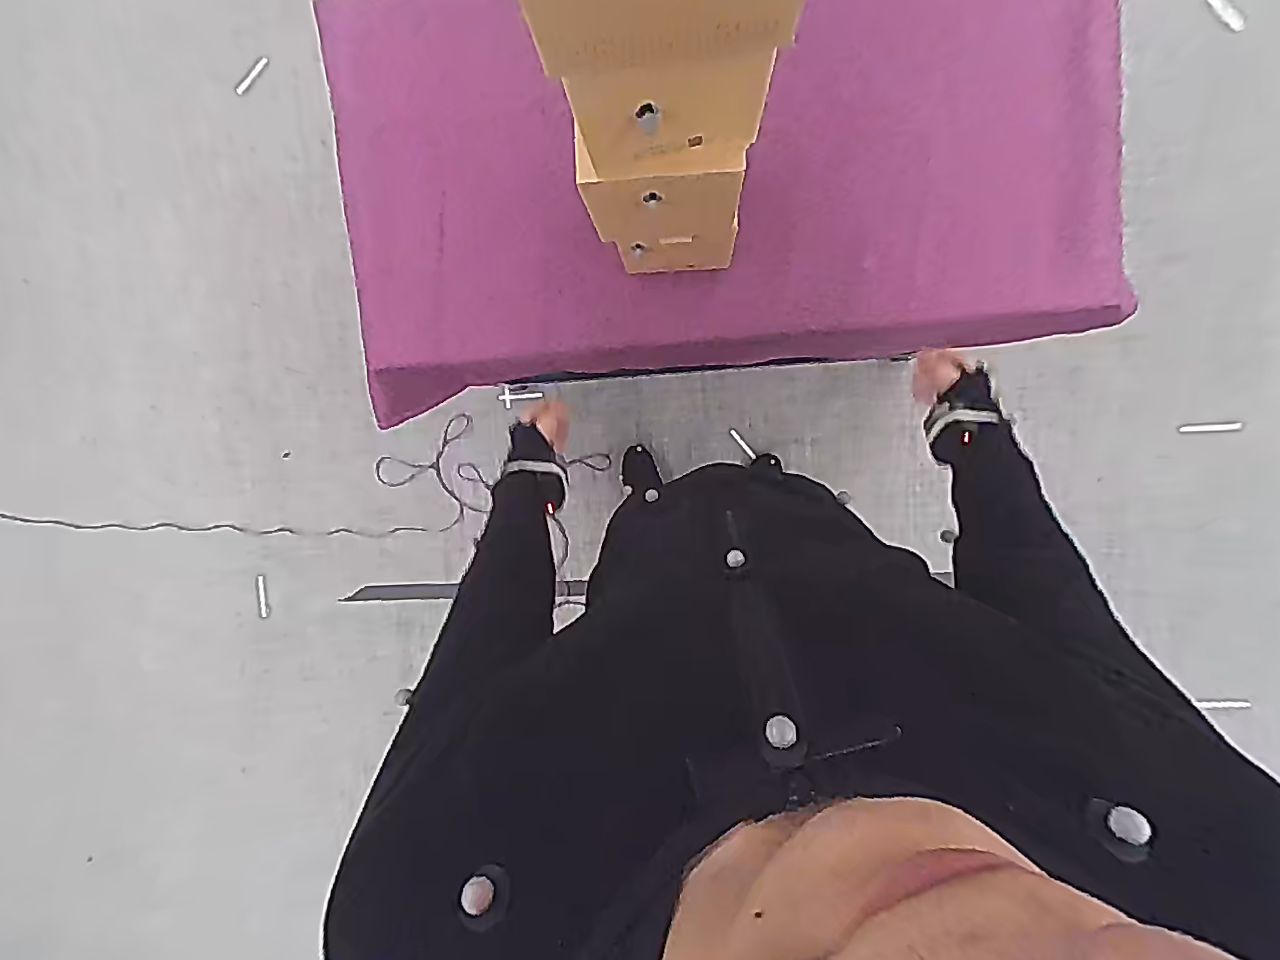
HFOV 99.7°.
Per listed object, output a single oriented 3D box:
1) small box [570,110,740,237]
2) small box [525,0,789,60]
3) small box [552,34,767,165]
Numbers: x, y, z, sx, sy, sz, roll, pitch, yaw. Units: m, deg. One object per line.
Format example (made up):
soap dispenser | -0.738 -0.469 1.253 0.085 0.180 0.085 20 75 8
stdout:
small box | 0.020 -0.395 0.625 0.179 0.176 0.168 -1 94 4
small box | 0.006 -0.376 0.299 0.179 0.176 0.168 -3 93 4
small box | 0.011 -0.401 0.462 0.168 0.176 0.179 -9 92 5
